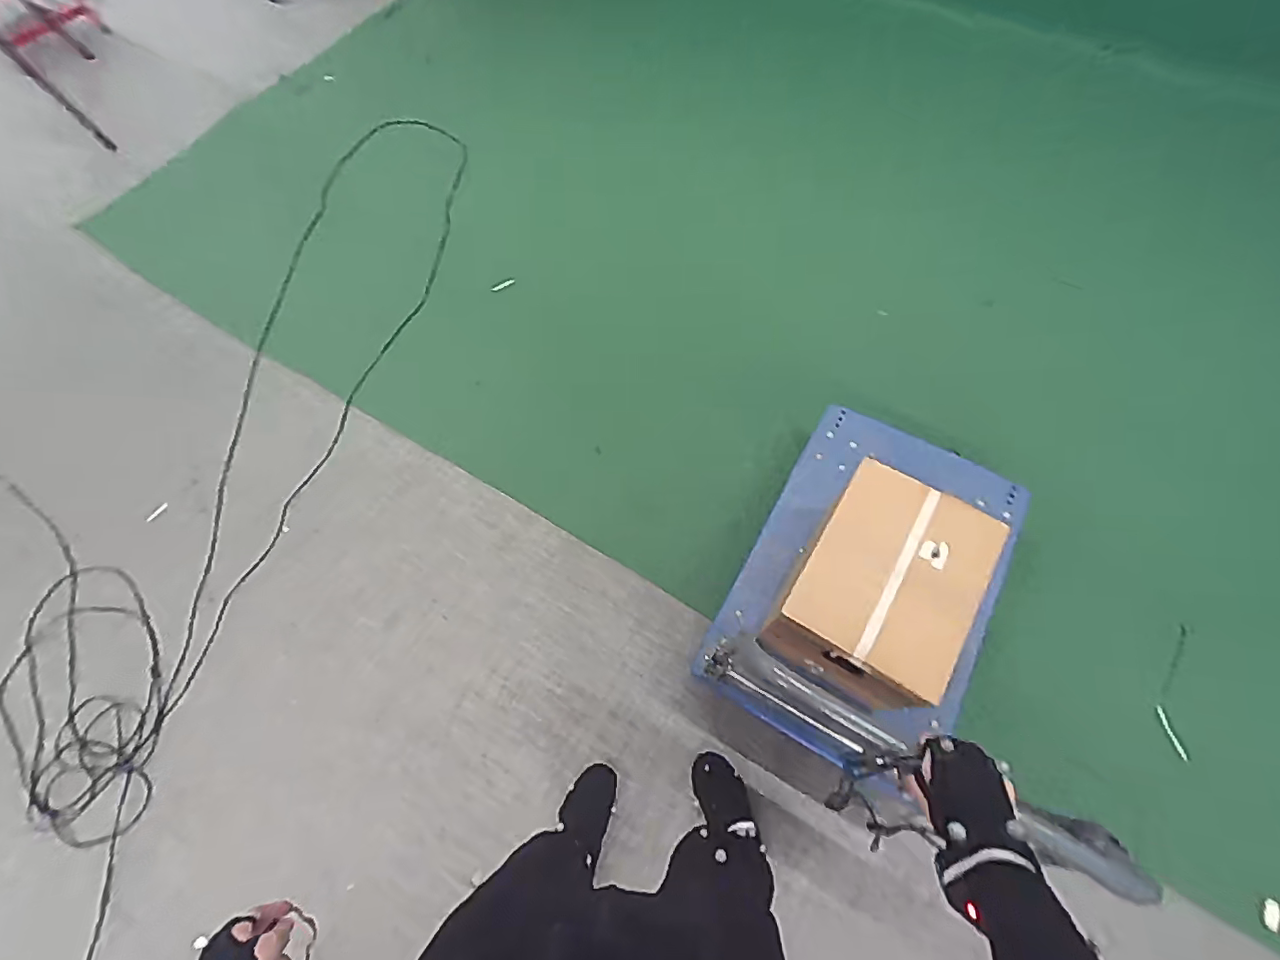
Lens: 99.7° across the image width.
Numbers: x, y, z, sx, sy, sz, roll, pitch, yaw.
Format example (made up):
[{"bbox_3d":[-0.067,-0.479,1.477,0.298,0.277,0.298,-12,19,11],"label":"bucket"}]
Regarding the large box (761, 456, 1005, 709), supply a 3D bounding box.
[{"bbox_3d":[0.509,0.234,1.191,0.320,0.320,0.408,30,70,14],"label":"large box"}]
